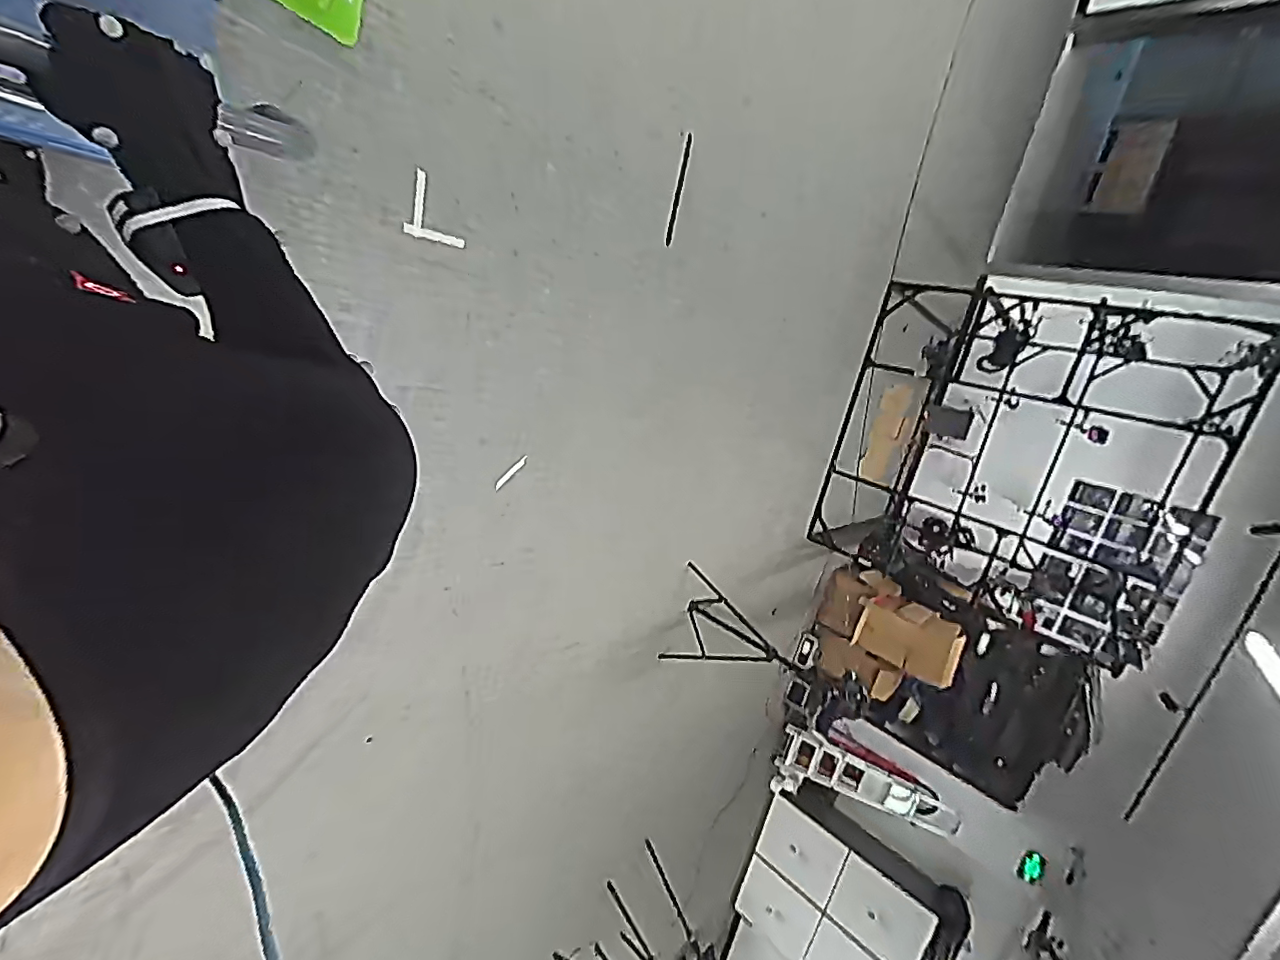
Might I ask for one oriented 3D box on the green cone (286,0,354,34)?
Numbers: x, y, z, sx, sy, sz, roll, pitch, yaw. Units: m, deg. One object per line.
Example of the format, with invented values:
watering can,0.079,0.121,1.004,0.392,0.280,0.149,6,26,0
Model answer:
green cone,-0.545,-1.001,0.986,0.202,0.368,0.200,1,108,-52
